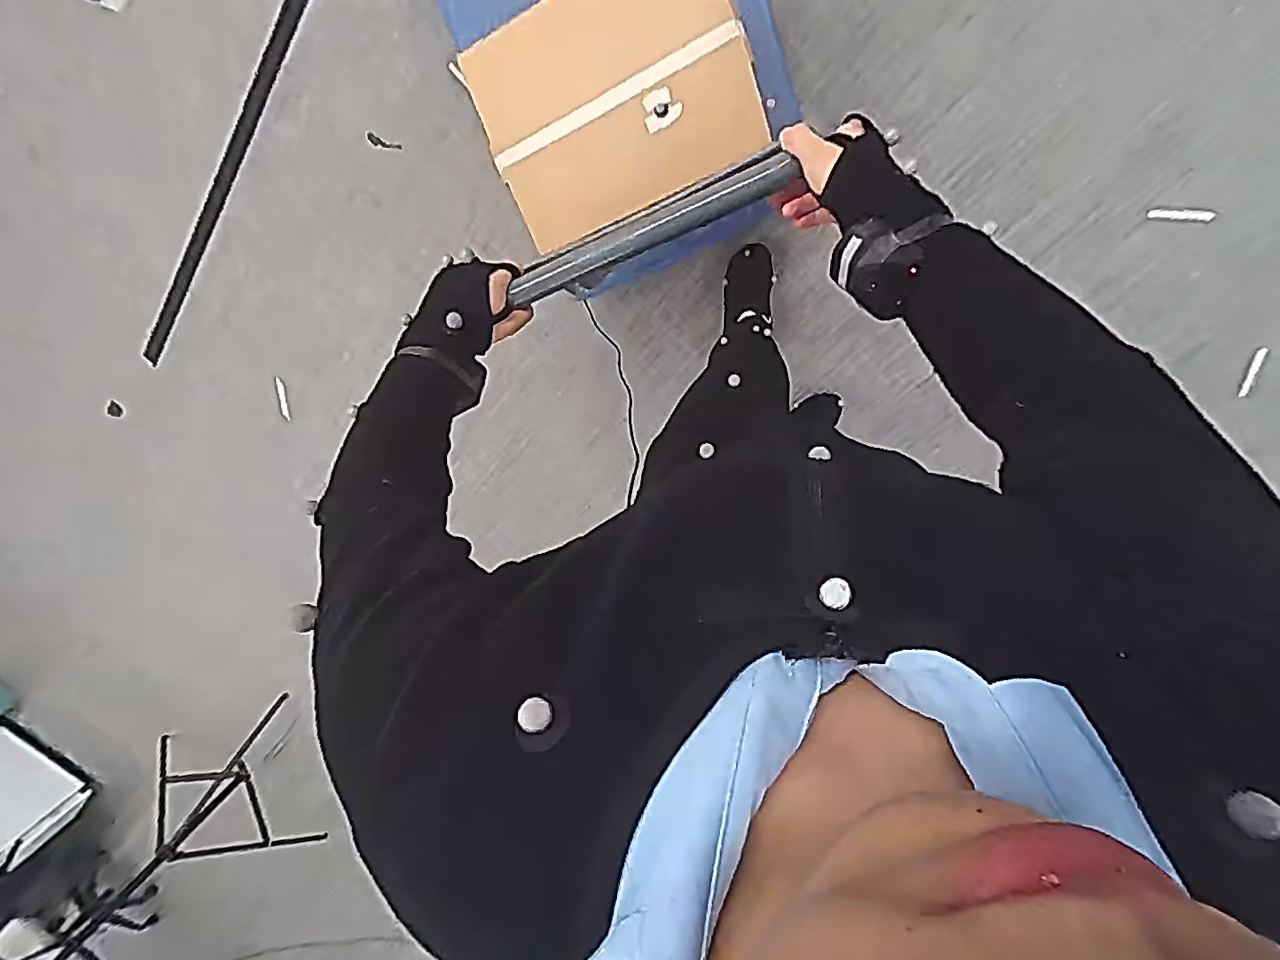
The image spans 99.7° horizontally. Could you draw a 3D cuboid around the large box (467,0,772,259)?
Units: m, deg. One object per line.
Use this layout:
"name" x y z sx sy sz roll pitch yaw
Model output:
"large box" -0.011 -0.627 0.958 0.408 0.320 0.320 -18 107 17
